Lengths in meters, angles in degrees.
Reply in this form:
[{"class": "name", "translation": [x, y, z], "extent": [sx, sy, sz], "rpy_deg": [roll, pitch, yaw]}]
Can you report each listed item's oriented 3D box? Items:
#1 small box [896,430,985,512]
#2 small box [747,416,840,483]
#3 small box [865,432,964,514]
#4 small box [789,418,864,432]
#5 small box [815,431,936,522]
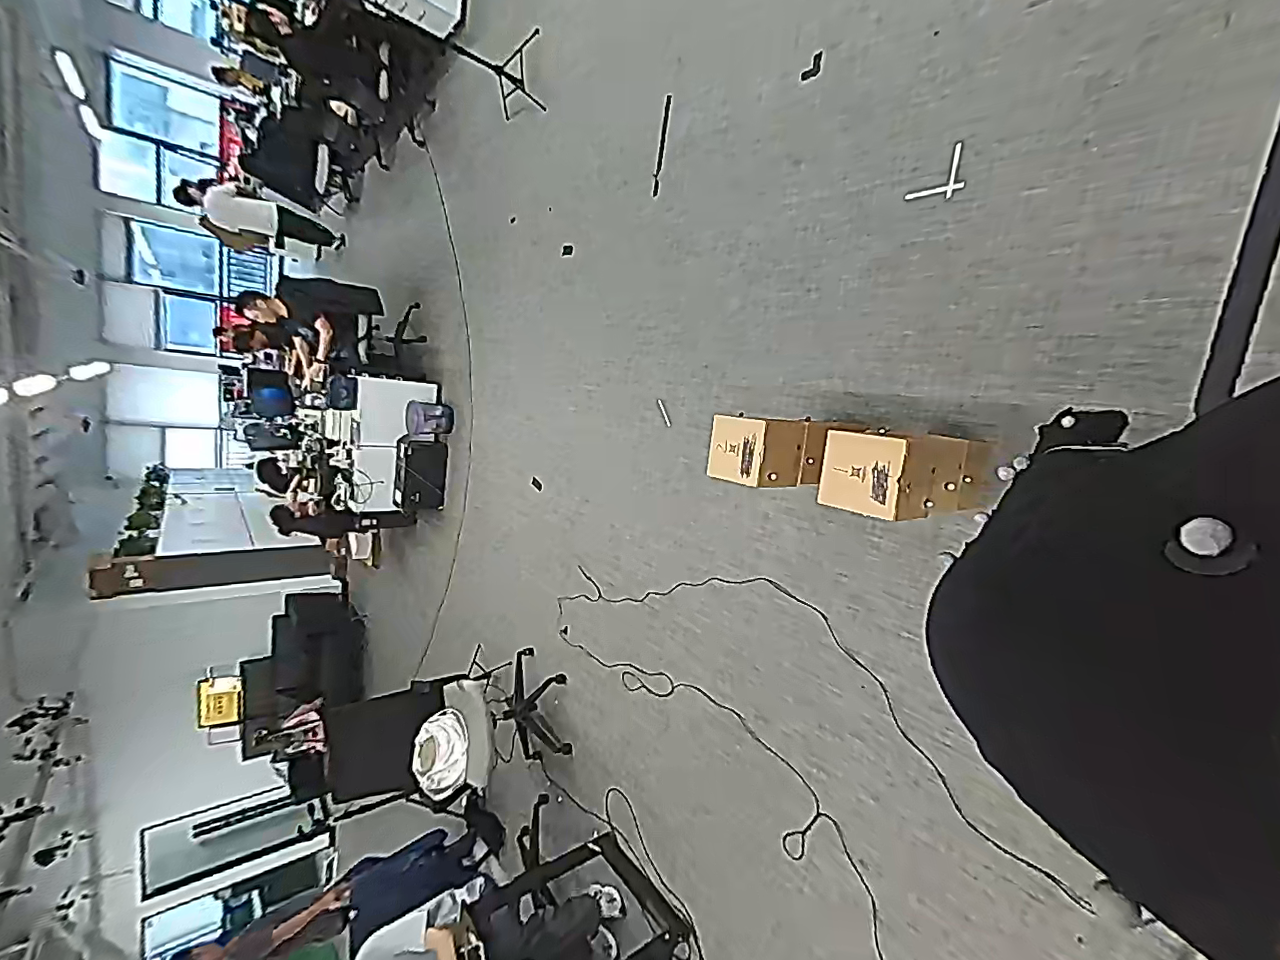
[{"class": "small box", "translation": [0.758, -0.026, 1.393], "extent": [0.168, 0.176, 0.179], "rpy_deg": [21, 105, 47]}, {"class": "small box", "translation": [0.432, -0.085, 1.522], "extent": [0.179, 0.176, 0.168], "rpy_deg": [15, 103, 50]}, {"class": "small box", "translation": [0.639, -0.023, 1.282], "extent": [0.179, 0.176, 0.168], "rpy_deg": [15, 102, 49]}, {"class": "small box", "translation": [0.554, -0.089, 1.632], "extent": [0.168, 0.176, 0.179], "rpy_deg": [15, 102, 49]}, {"class": "small box", "translation": [0.513, -0.014, 1.176], "extent": [0.179, 0.176, 0.168], "rpy_deg": [17, 103, 49]}]
